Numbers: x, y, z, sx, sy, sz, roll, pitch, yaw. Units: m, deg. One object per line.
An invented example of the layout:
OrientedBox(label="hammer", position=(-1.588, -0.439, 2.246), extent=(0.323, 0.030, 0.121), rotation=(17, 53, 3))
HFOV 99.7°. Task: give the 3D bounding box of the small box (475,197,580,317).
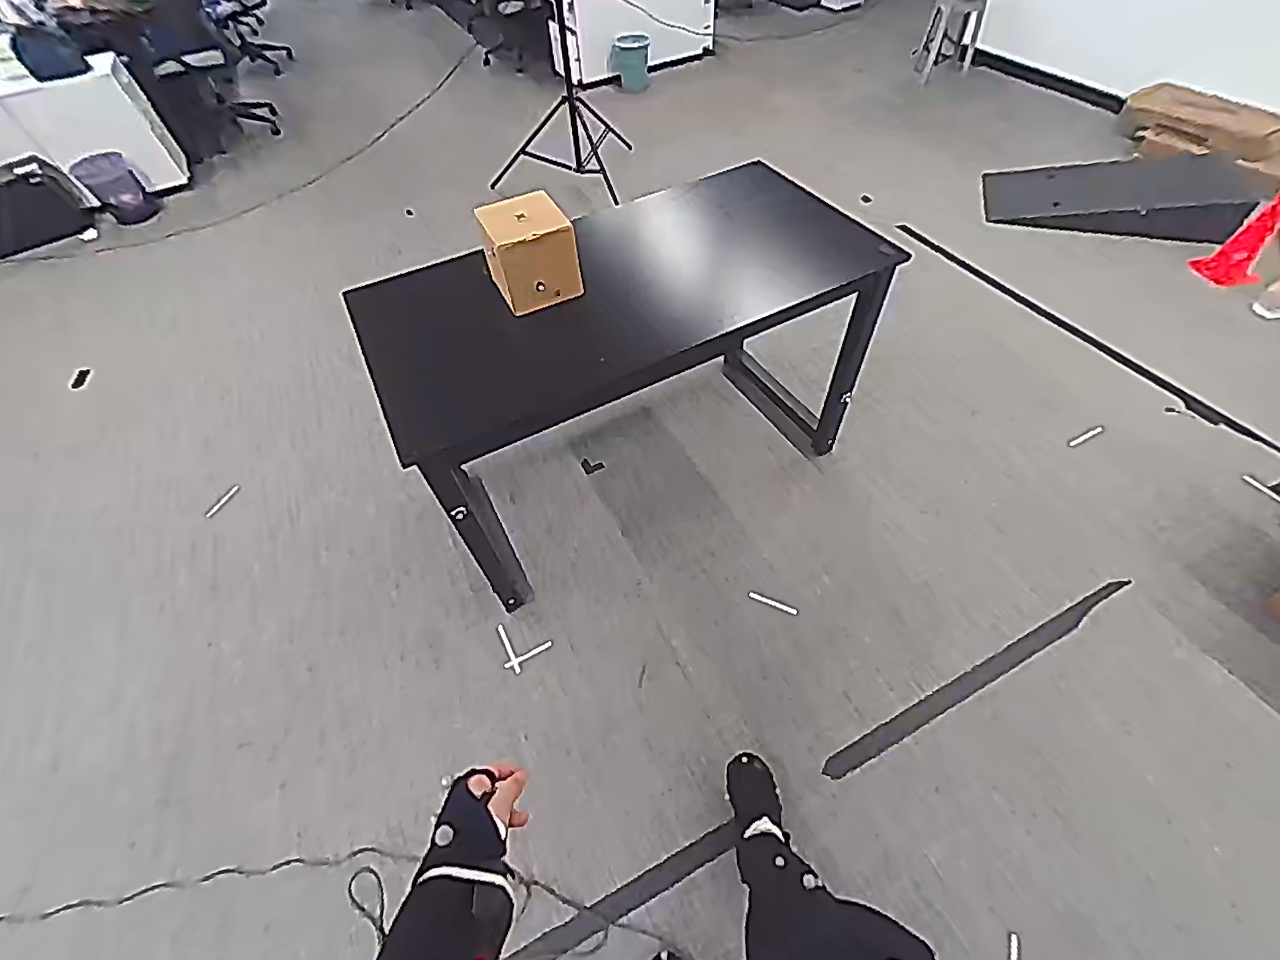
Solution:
OrientedBox(label="small box", position=(-0.249, -0.498, 1.213), extent=(0.168, 0.176, 0.179), rotation=(-24, 56, -13))
